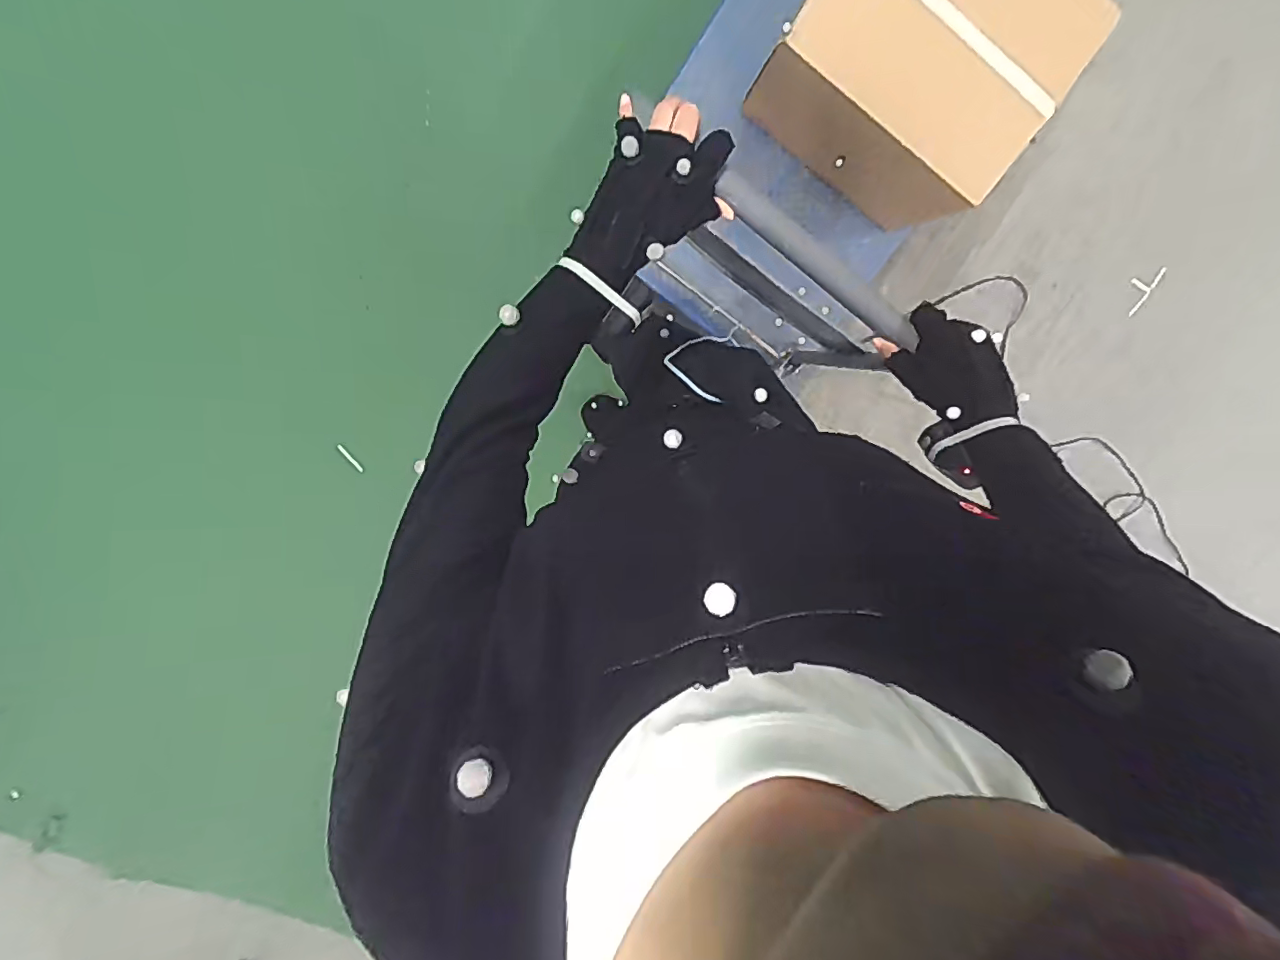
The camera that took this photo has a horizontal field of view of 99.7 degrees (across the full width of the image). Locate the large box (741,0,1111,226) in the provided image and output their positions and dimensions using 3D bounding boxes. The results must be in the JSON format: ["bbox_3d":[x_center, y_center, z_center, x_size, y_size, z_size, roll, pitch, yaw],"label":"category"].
[{"bbox_3d":[0.446,-0.708,0.937,0.408,0.320,0.320,33,104,-10],"label":"large box"}]
